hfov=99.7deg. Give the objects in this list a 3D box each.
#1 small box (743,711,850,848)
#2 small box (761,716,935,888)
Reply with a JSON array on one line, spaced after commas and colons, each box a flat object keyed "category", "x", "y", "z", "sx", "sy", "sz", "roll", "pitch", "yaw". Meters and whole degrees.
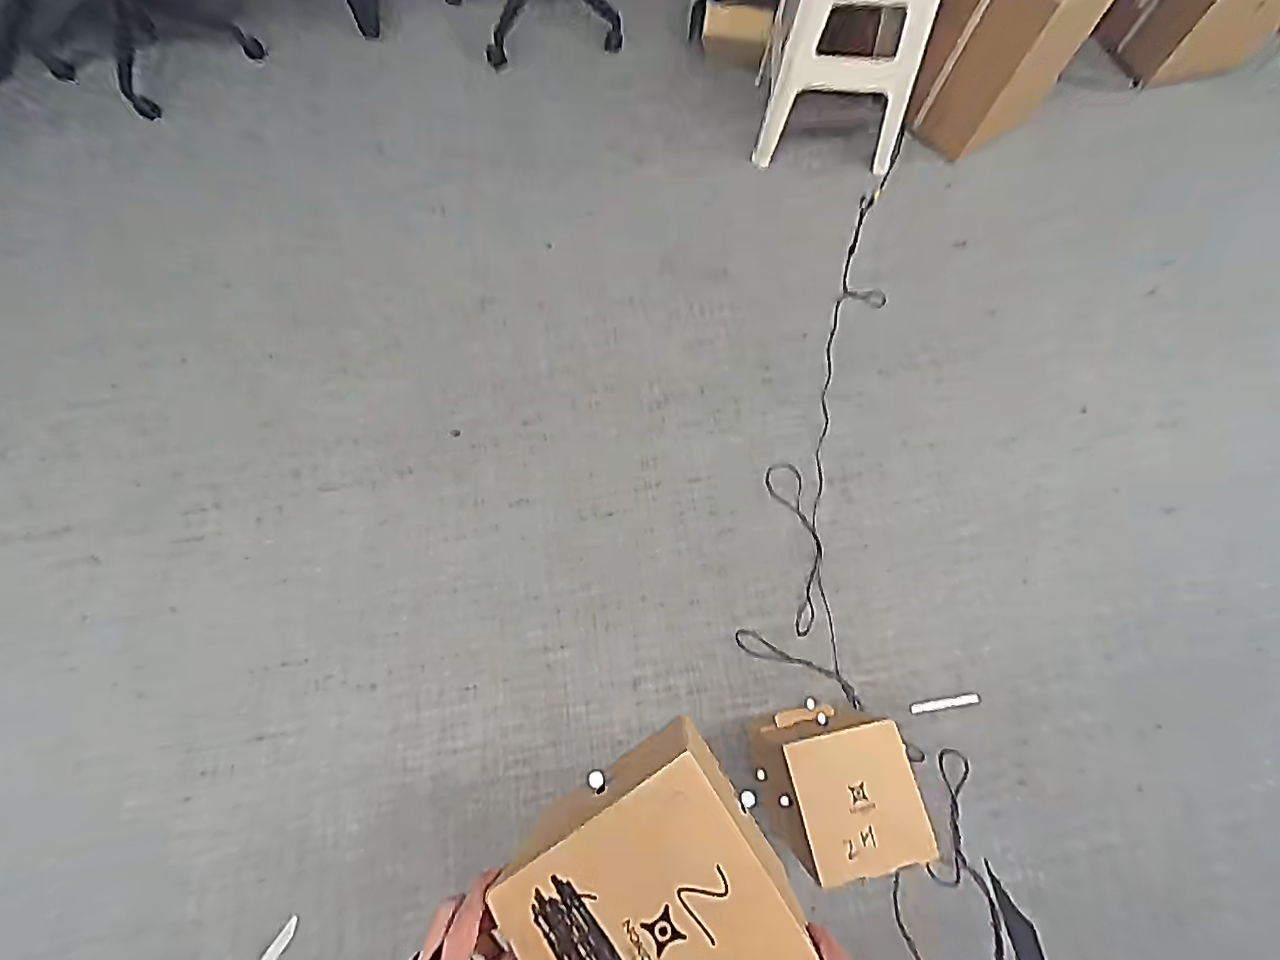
[{"category": "small box", "x": 0.291, "y": 0.516, "z": 0.960, "sx": 0.168, "sy": 0.176, "sz": 0.179, "roll": -10, "pitch": 71, "yaw": -3}, {"category": "small box", "x": 0.291, "y": 0.460, "z": 0.804, "sx": 0.168, "sy": 0.176, "sz": 0.179, "roll": -12, "pitch": 71, "yaw": -3}]
